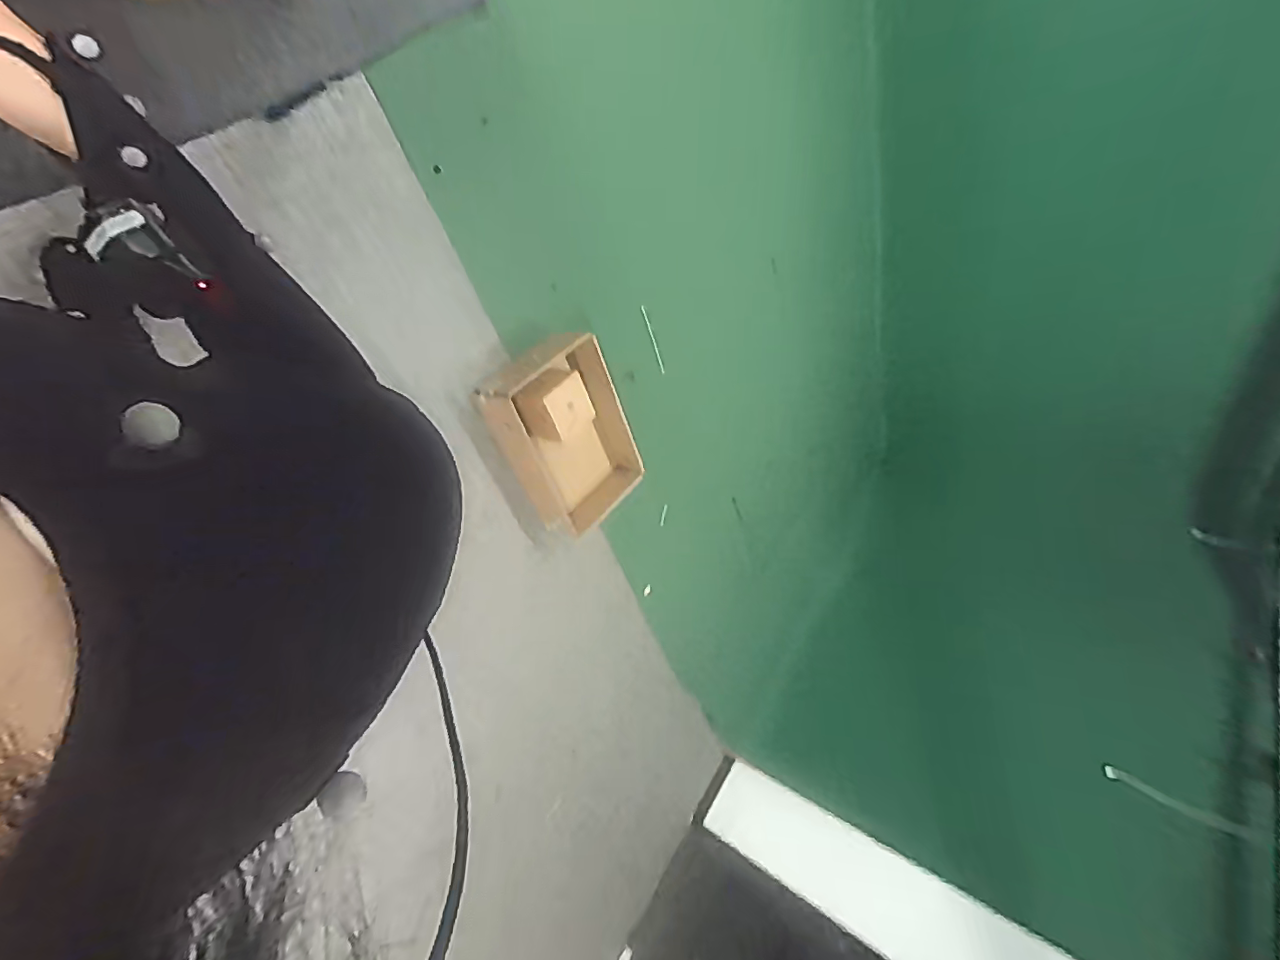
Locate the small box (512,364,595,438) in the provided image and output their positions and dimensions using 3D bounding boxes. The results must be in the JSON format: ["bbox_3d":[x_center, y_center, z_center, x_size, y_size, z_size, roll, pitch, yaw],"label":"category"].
[{"bbox_3d":[-0.283,-0.263,1.755,0.168,0.176,0.179,-46,135,-30],"label":"small box"}]
